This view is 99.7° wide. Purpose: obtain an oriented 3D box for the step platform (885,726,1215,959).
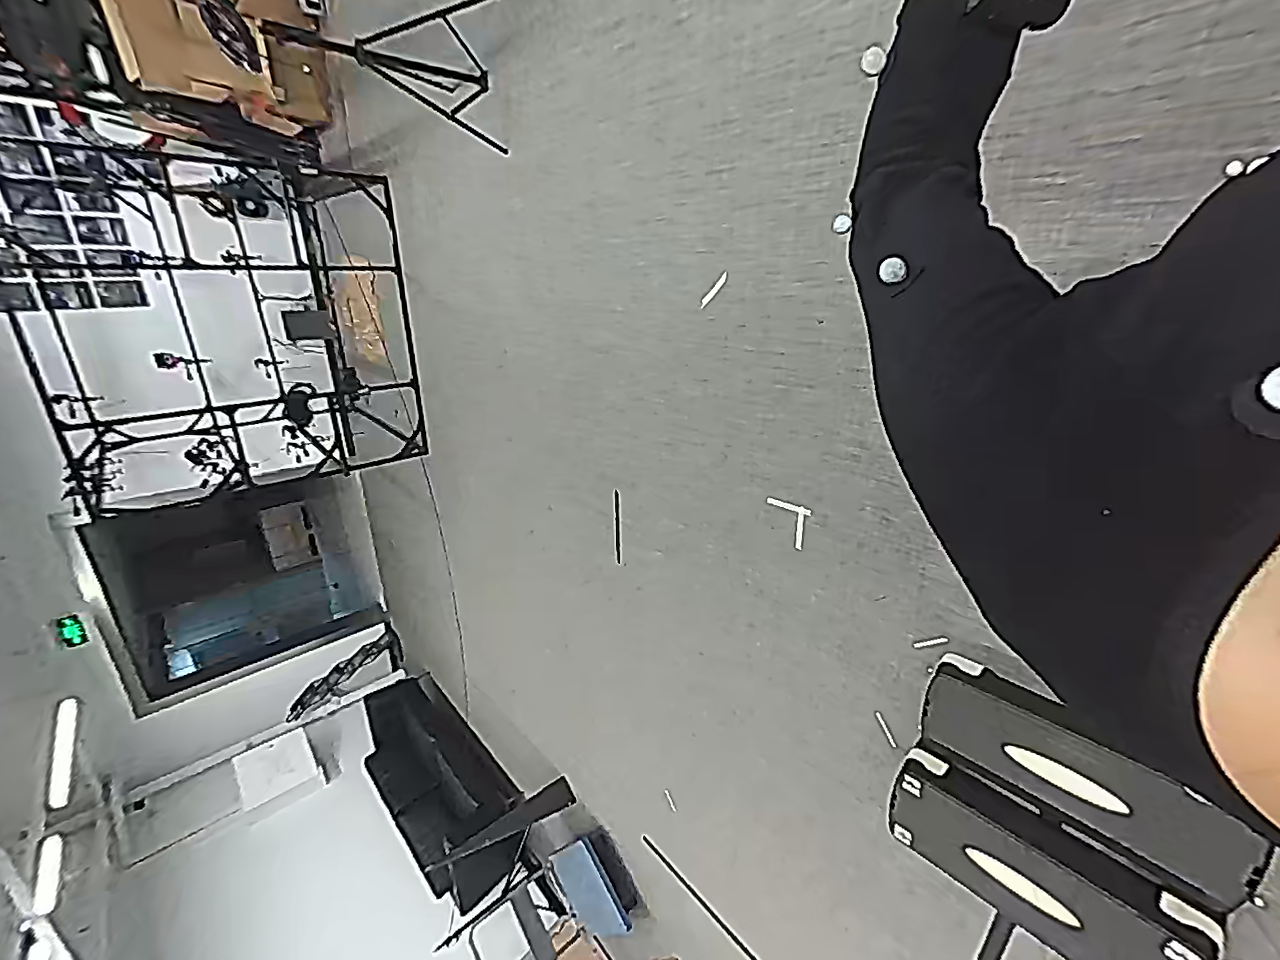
[{"bbox_3d":[1.025,0.986,1.445,0.684,0.204,0.286,20,119,46],"label":"step platform"}]
